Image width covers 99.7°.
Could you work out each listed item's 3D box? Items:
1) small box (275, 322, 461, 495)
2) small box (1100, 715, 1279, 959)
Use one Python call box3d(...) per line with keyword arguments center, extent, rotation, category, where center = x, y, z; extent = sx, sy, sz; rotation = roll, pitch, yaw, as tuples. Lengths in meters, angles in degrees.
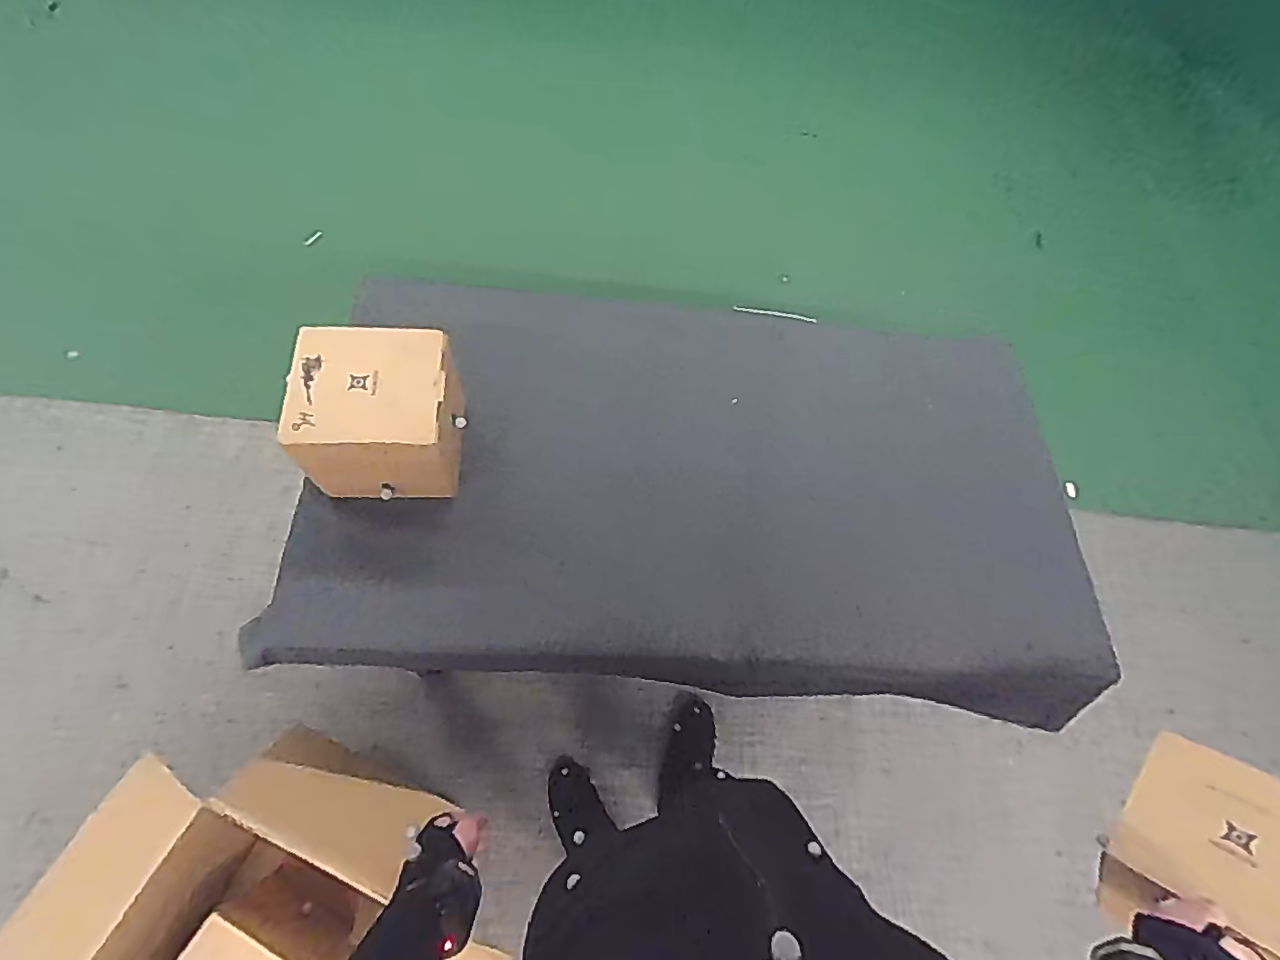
box3d(center=(-0.341, -0.086, 0.722), extent=(0.179, 0.176, 0.168), rotation=(0, 66, -10), category="small box")
box3d(center=(0.630, 0.406, 0.581), extent=(0.179, 0.176, 0.168), rotation=(-41, 33, -22), category="small box")
